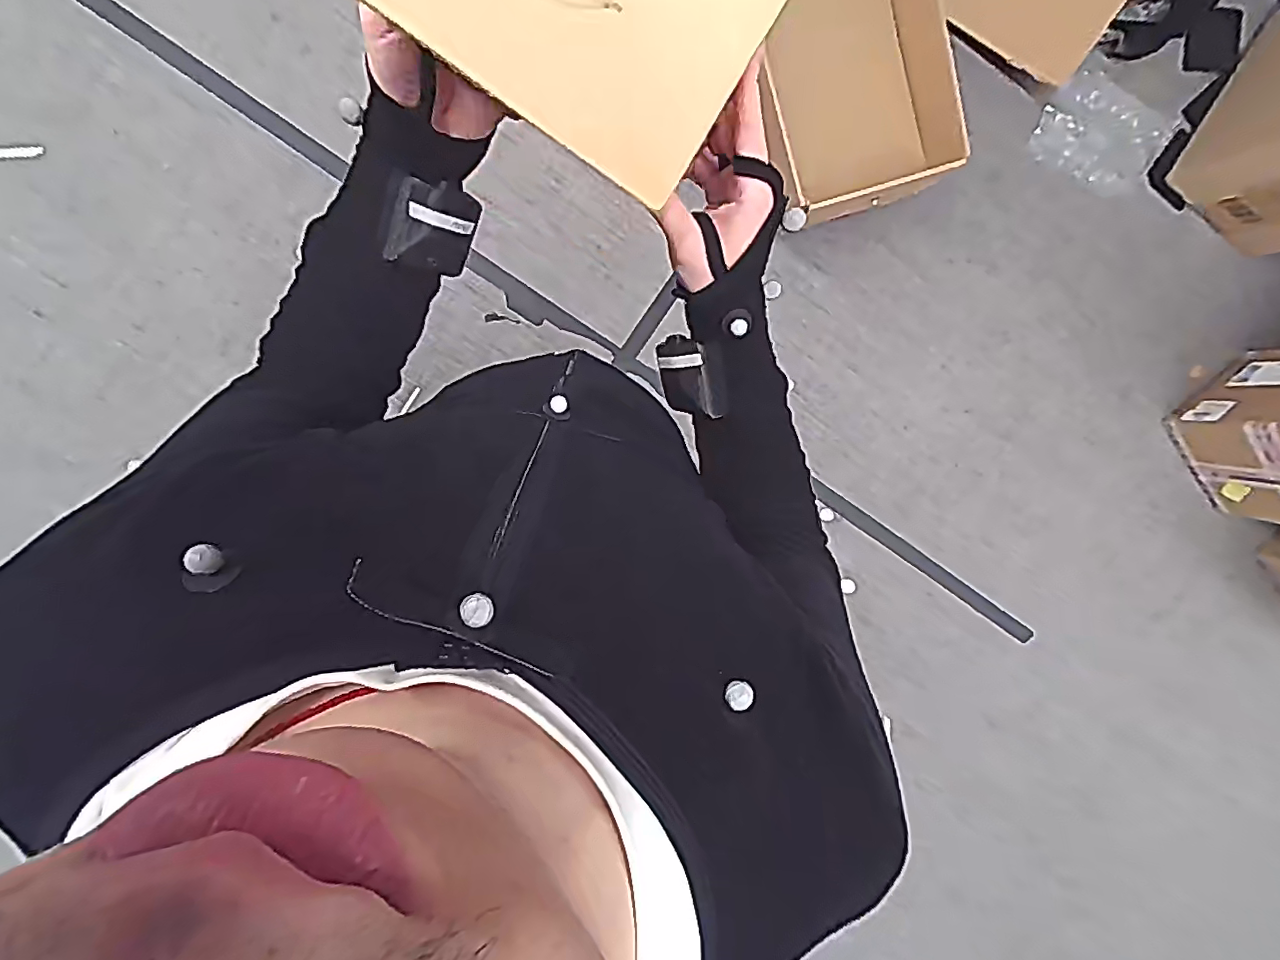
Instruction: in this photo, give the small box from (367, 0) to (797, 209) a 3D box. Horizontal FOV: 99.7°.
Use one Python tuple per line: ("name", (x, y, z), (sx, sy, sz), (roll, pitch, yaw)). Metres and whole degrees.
("small box", (-0.007, -0.253, 0.232), (0.168, 0.176, 0.179), (28, 120, -14))
